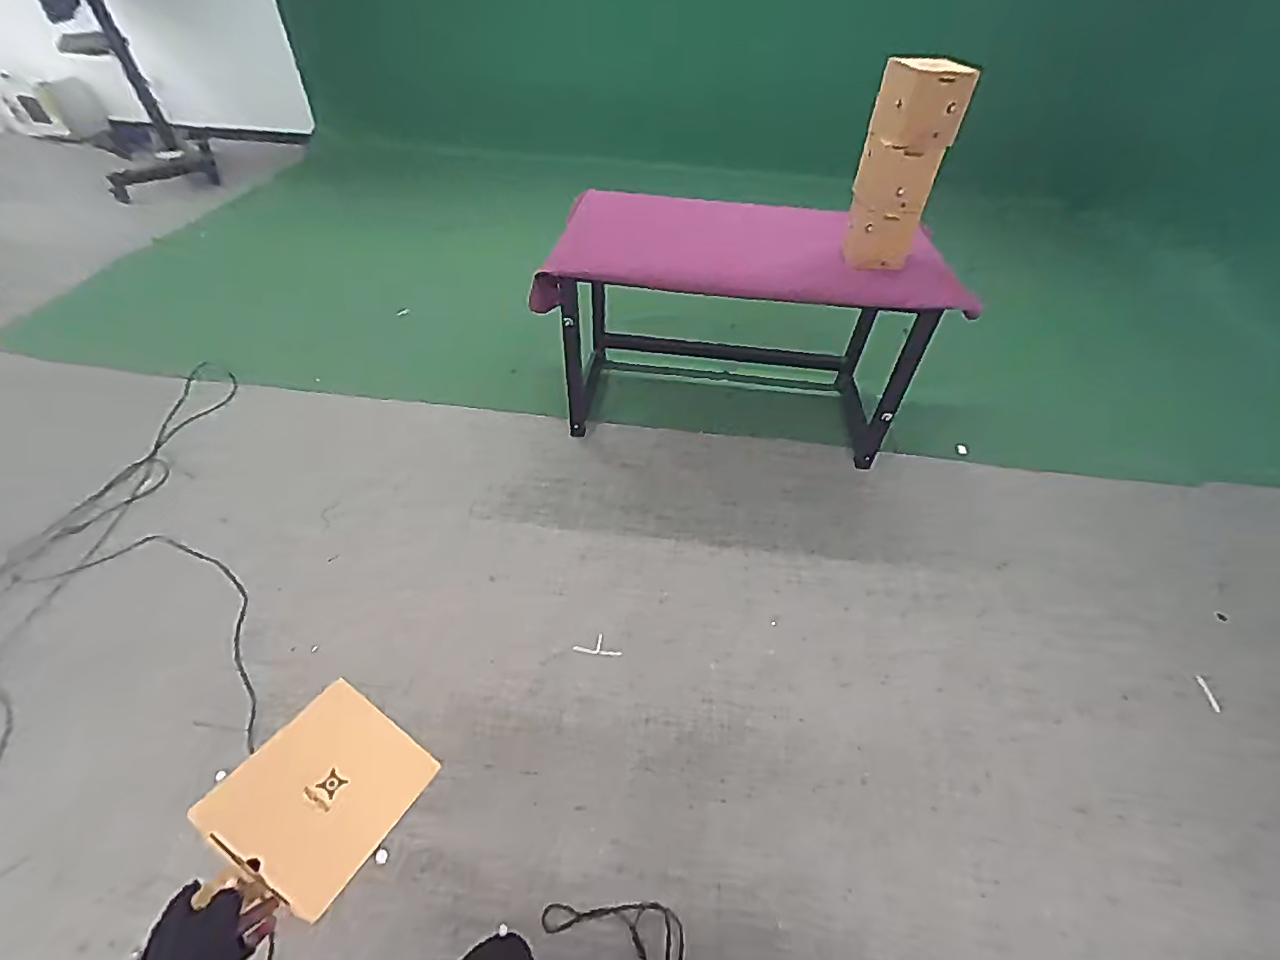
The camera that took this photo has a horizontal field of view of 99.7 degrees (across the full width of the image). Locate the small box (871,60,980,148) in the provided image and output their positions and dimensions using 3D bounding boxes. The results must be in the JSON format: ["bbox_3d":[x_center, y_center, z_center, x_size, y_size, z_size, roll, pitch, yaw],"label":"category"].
[{"bbox_3d":[0.749,-0.998,1.439,0.168,0.176,0.179,-3,46,-7],"label":"small box"}]

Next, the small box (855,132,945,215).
[{"bbox_3d":[0.737,-0.886,1.556,0.168,0.176,0.179,4,46,2],"label":"small box"}]

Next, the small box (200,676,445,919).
[{"bbox_3d":[-0.369,0.374,0.642,0.168,0.176,0.179,40,45,1],"label":"small box"}]
